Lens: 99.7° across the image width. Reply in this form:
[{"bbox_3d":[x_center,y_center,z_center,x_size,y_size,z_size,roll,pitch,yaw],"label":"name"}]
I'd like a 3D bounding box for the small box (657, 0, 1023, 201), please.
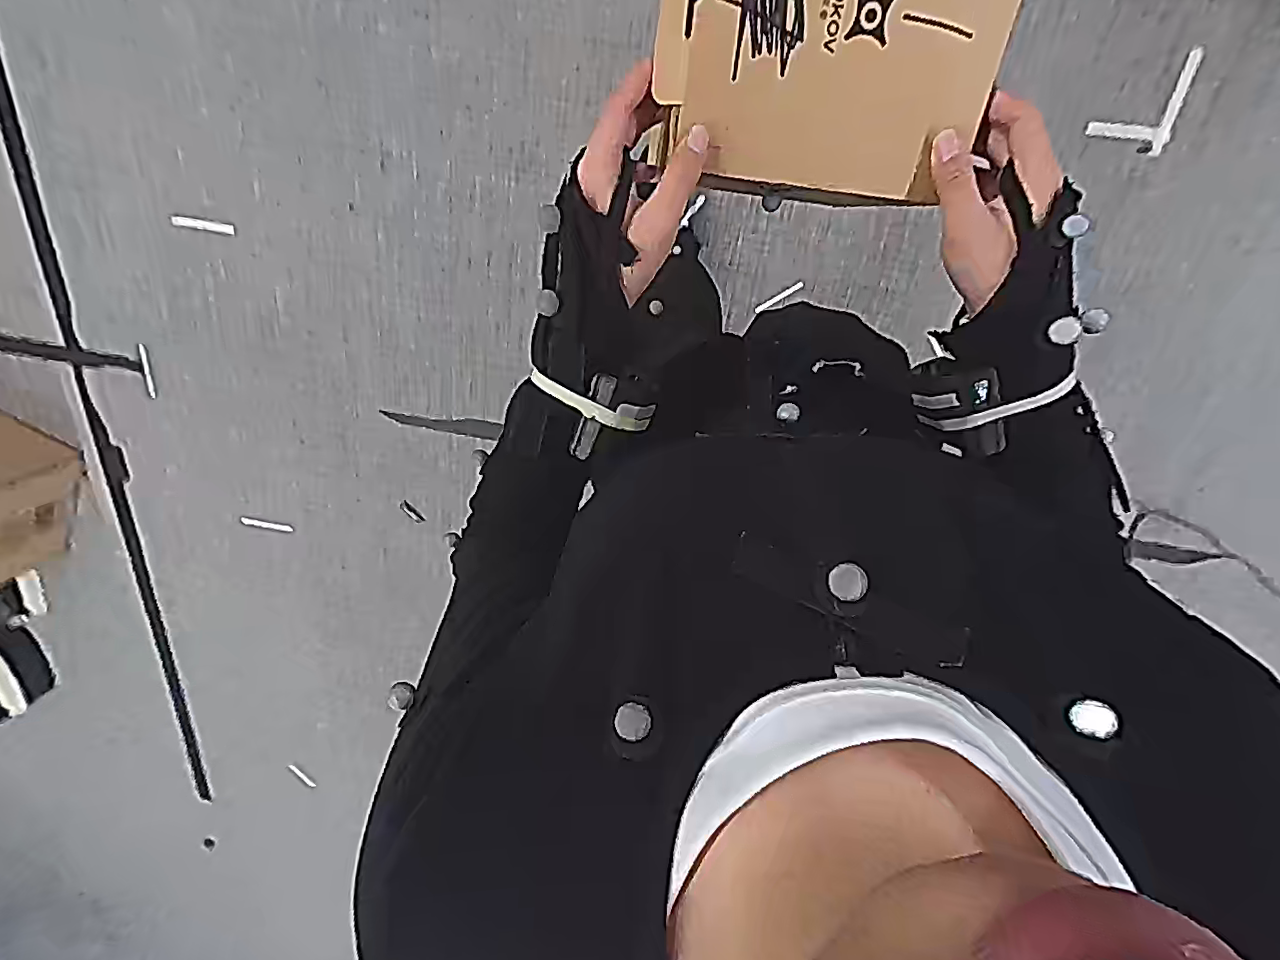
[{"bbox_3d":[0.110,-0.284,0.353,0.179,0.176,0.168,4,117,-7],"label":"small box"}]
